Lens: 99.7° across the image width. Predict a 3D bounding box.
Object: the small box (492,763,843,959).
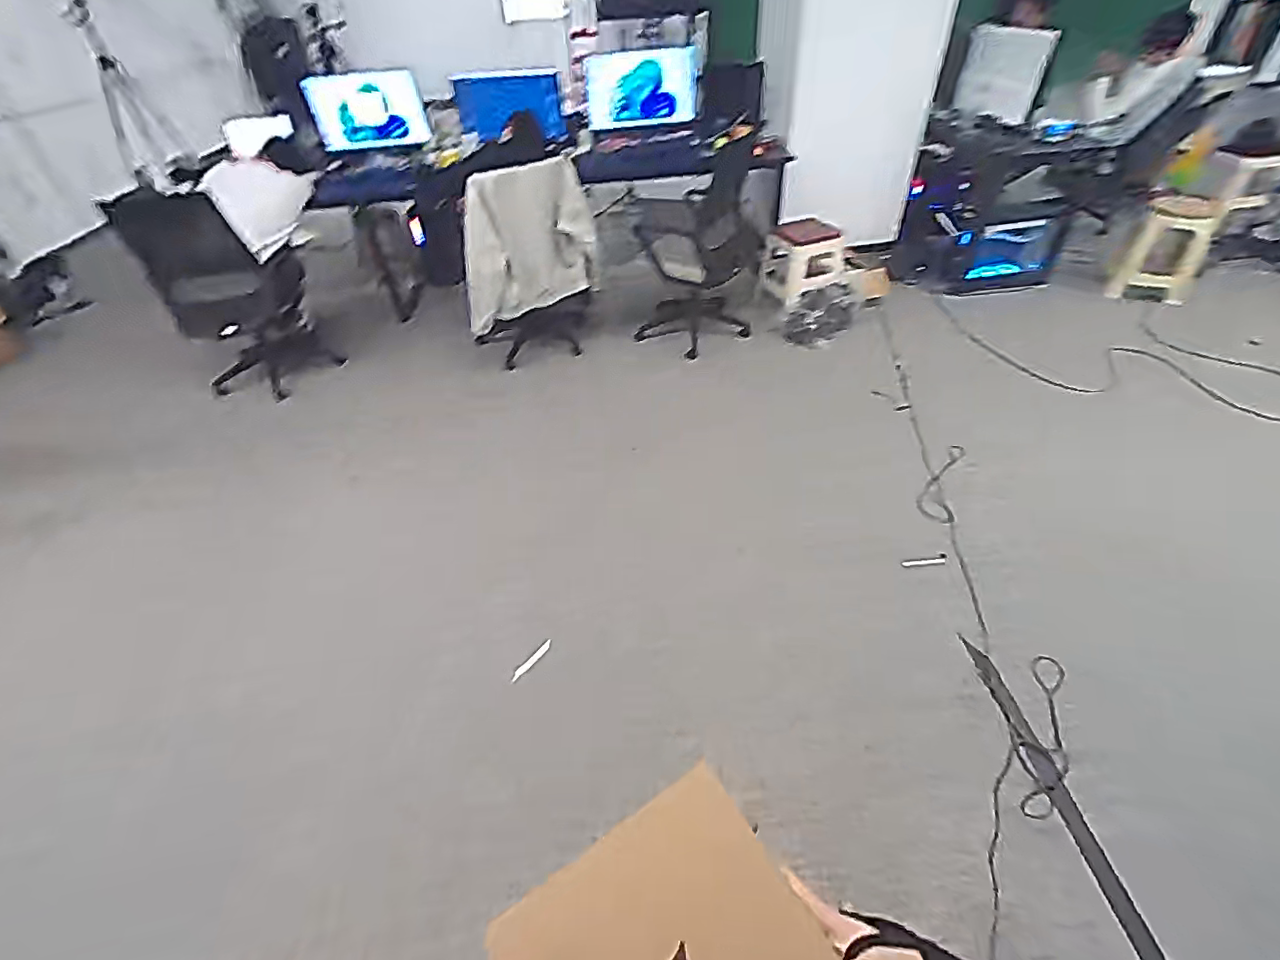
[{"bbox_3d":[0.022,0.332,0.352,0.168,0.176,0.179,-24,53,-23],"label":"small box"}]
